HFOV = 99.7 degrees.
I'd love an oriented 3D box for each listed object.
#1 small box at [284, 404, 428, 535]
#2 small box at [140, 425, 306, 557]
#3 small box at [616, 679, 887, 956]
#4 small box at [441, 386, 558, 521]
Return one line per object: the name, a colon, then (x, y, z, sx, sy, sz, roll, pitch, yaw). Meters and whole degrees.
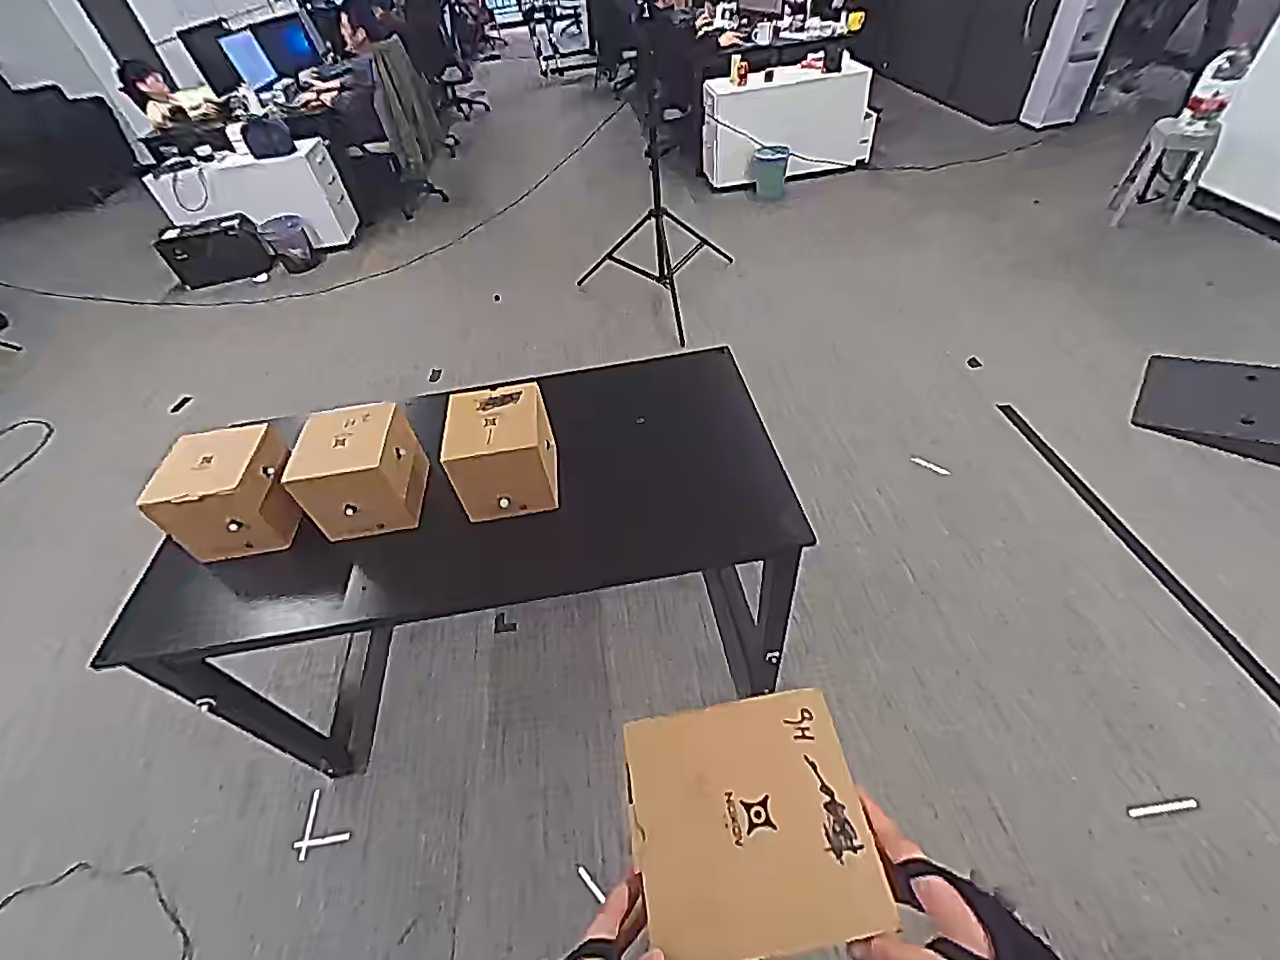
small box: (-0.513, -0.013, 1.010, 0.168, 0.176, 0.179, -9, 46, -1)
small box: (-0.750, 0.027, 1.007, 0.168, 0.176, 0.179, -9, 46, -3)
small box: (0.084, 0.296, 0.479, 0.179, 0.176, 0.168, -10, 53, 0)
small box: (-0.251, -0.048, 1.008, 0.168, 0.176, 0.179, -9, 47, -1)
